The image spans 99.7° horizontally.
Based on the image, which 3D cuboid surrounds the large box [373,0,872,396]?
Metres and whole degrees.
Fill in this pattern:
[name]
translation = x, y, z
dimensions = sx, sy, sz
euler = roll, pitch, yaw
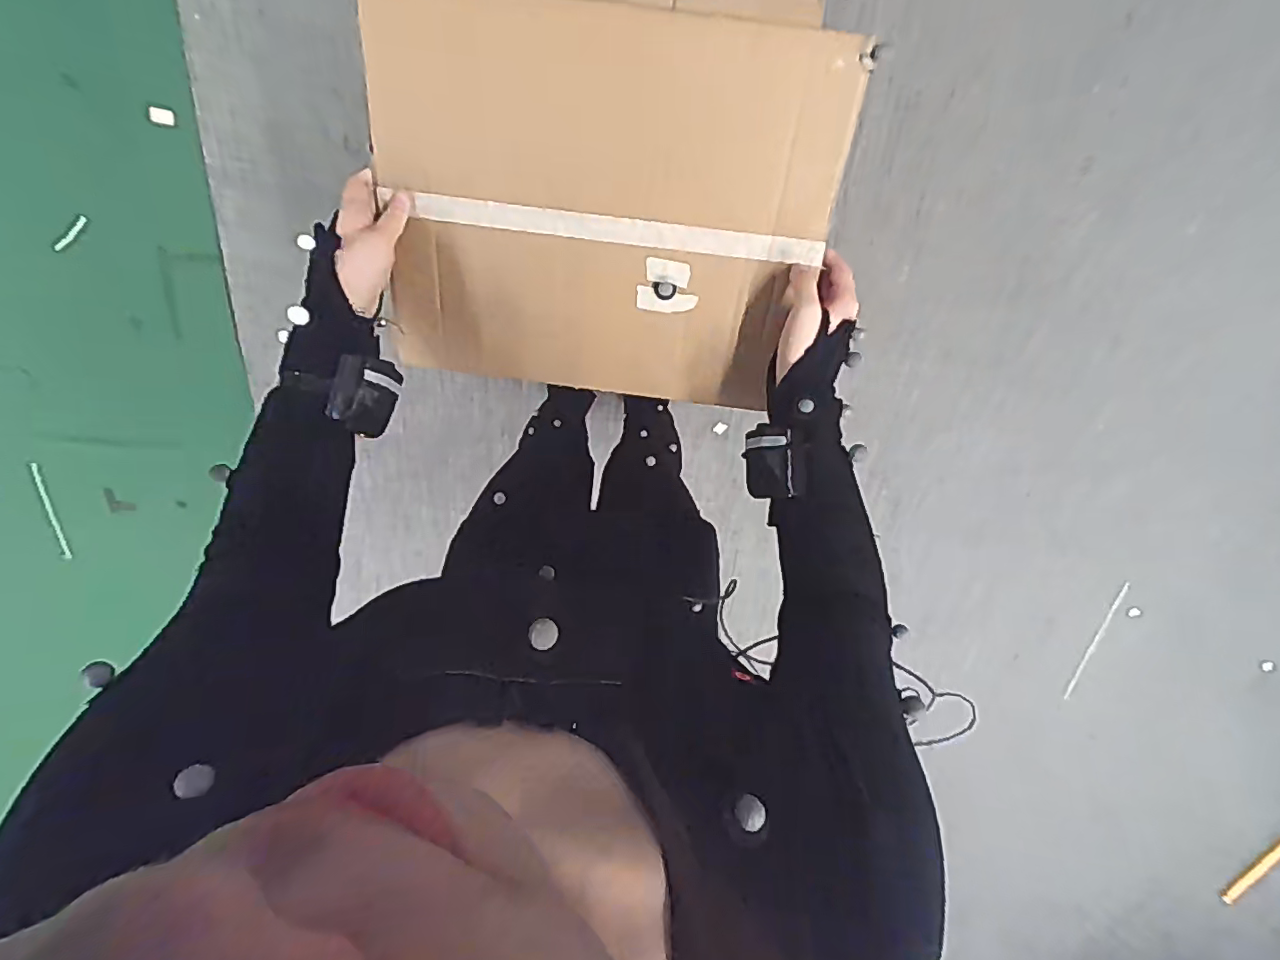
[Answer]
[large box]
translation = -0.023, -0.311, 0.624
dimensions = 0.408, 0.320, 0.320
euler = 7, 119, -1
